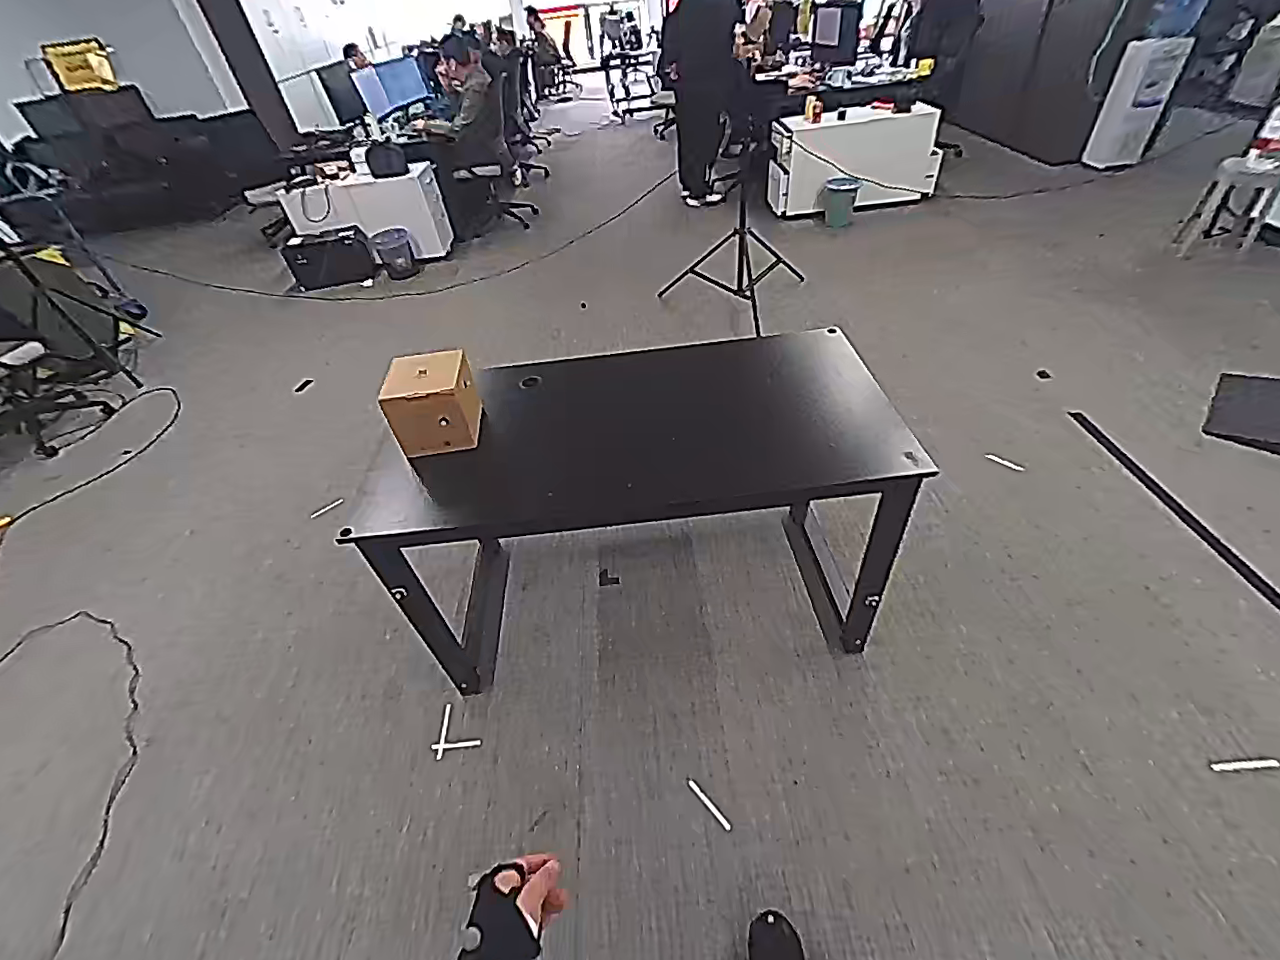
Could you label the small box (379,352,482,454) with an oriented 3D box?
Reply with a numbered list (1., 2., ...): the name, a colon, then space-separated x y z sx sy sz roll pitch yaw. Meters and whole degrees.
1. small box: -0.476 -0.173 1.257 0.168 0.176 0.179 -8 42 -3
